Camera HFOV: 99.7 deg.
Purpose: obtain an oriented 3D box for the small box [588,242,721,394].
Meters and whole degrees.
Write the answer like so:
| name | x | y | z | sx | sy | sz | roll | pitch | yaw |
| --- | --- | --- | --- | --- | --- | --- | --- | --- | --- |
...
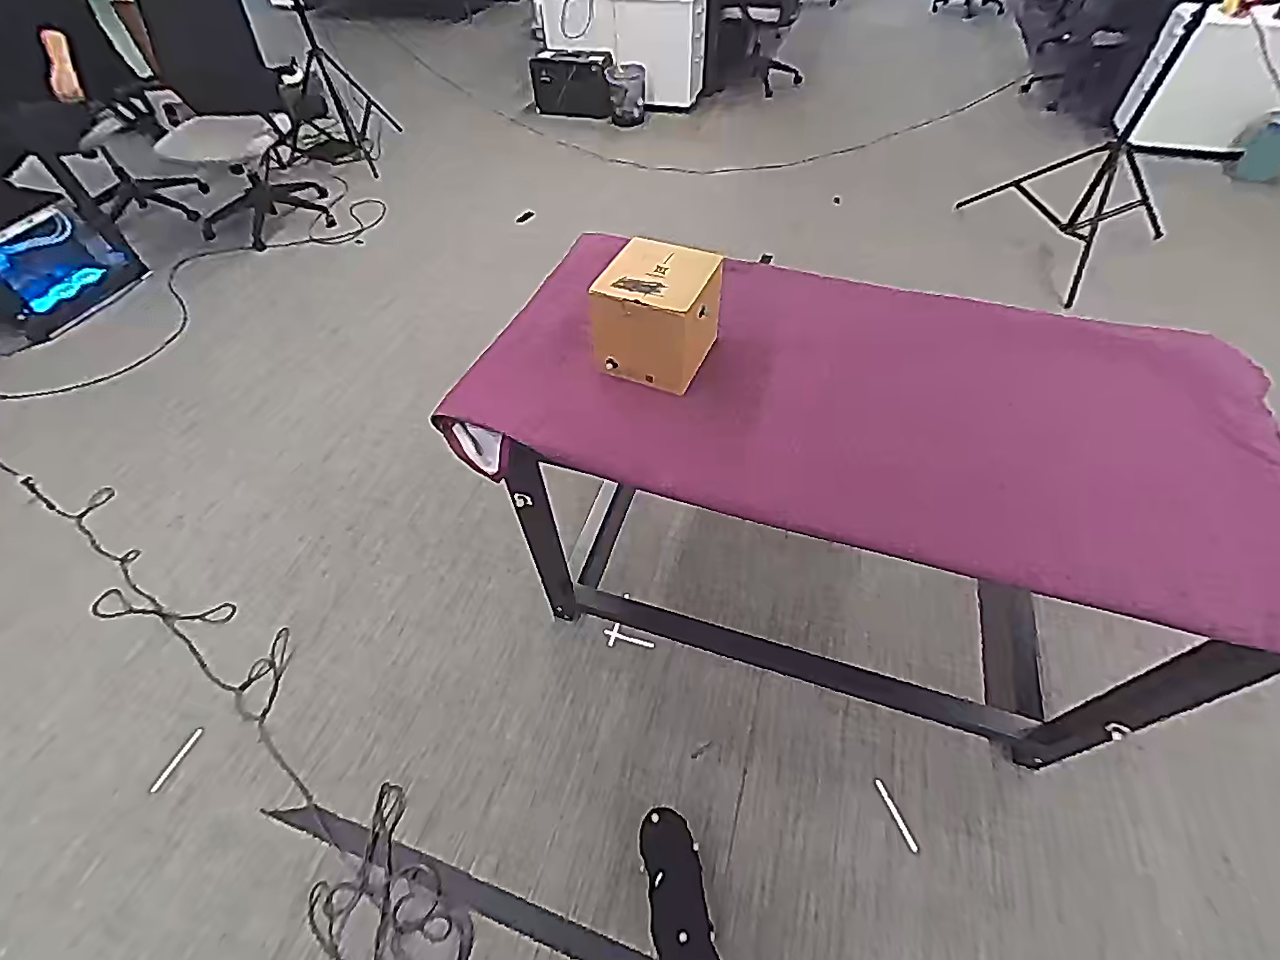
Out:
| name | x | y | z | sx | sy | sz | roll | pitch | yaw |
| --- | --- | --- | --- | --- | --- | --- | --- | --- | --- |
| small box | 0.030 | -0.275 | 0.928 | 0.168 | 0.176 | 0.179 | 19 | 55 | 16 |
